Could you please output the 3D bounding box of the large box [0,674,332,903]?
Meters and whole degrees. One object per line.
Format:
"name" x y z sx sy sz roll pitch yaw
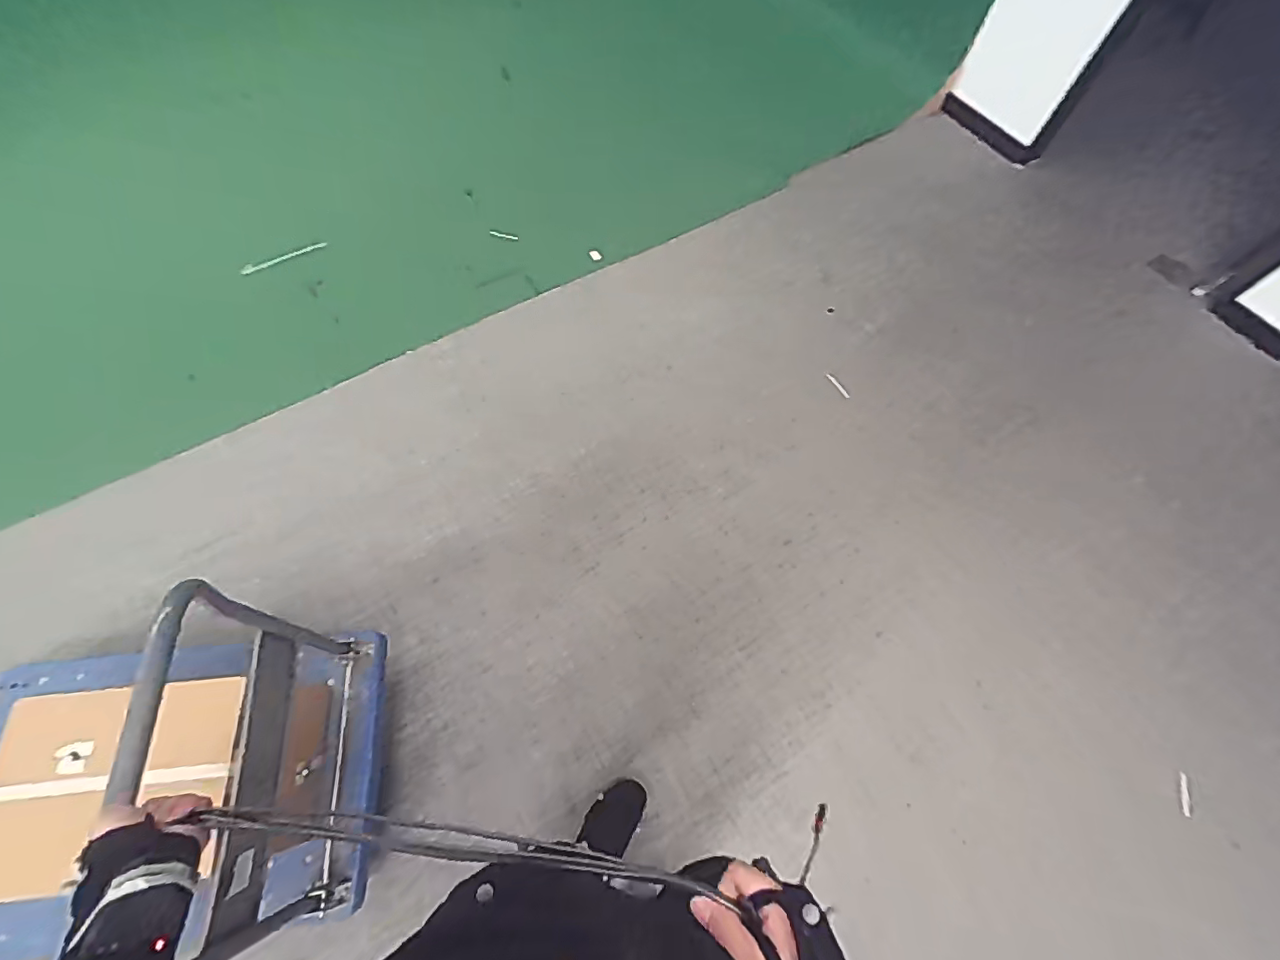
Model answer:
"large box" -0.888 0.570 1.053 0.408 0.320 0.320 -4 66 -3
